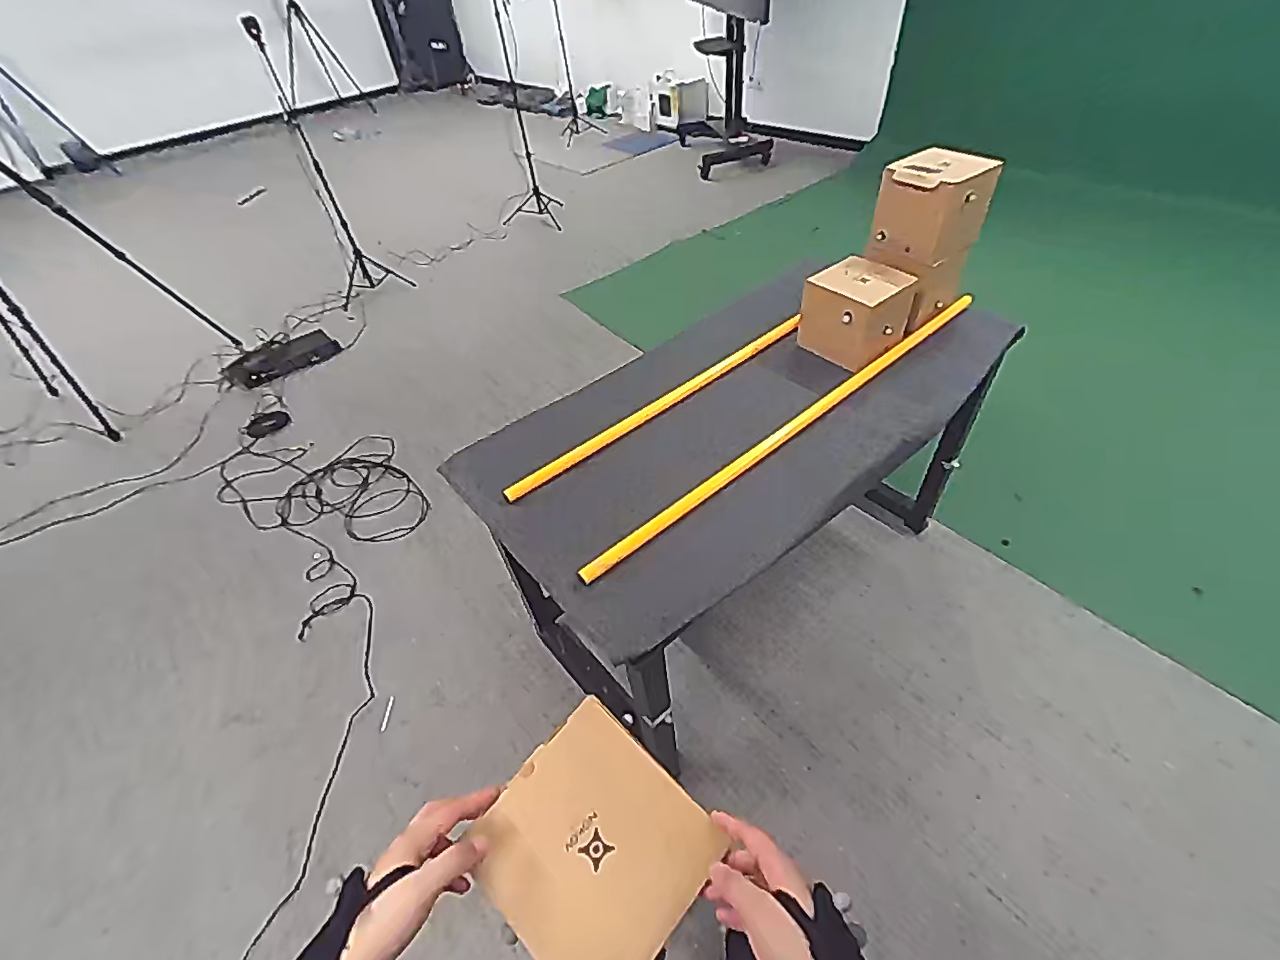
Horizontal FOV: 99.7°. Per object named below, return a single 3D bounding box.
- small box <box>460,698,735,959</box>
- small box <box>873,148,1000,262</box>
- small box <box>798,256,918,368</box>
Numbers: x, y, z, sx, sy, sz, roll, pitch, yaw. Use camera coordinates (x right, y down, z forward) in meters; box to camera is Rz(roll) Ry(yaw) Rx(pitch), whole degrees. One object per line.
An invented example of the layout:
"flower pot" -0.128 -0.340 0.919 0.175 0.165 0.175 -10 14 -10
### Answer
"small box" -0.036 0.346 0.522 0.179 0.176 0.168 40 66 21
"small box" 0.645 -0.609 1.201 0.179 0.176 0.168 -30 51 -21
"small box" 0.485 -0.378 1.229 0.168 0.176 0.179 -32 51 -22
